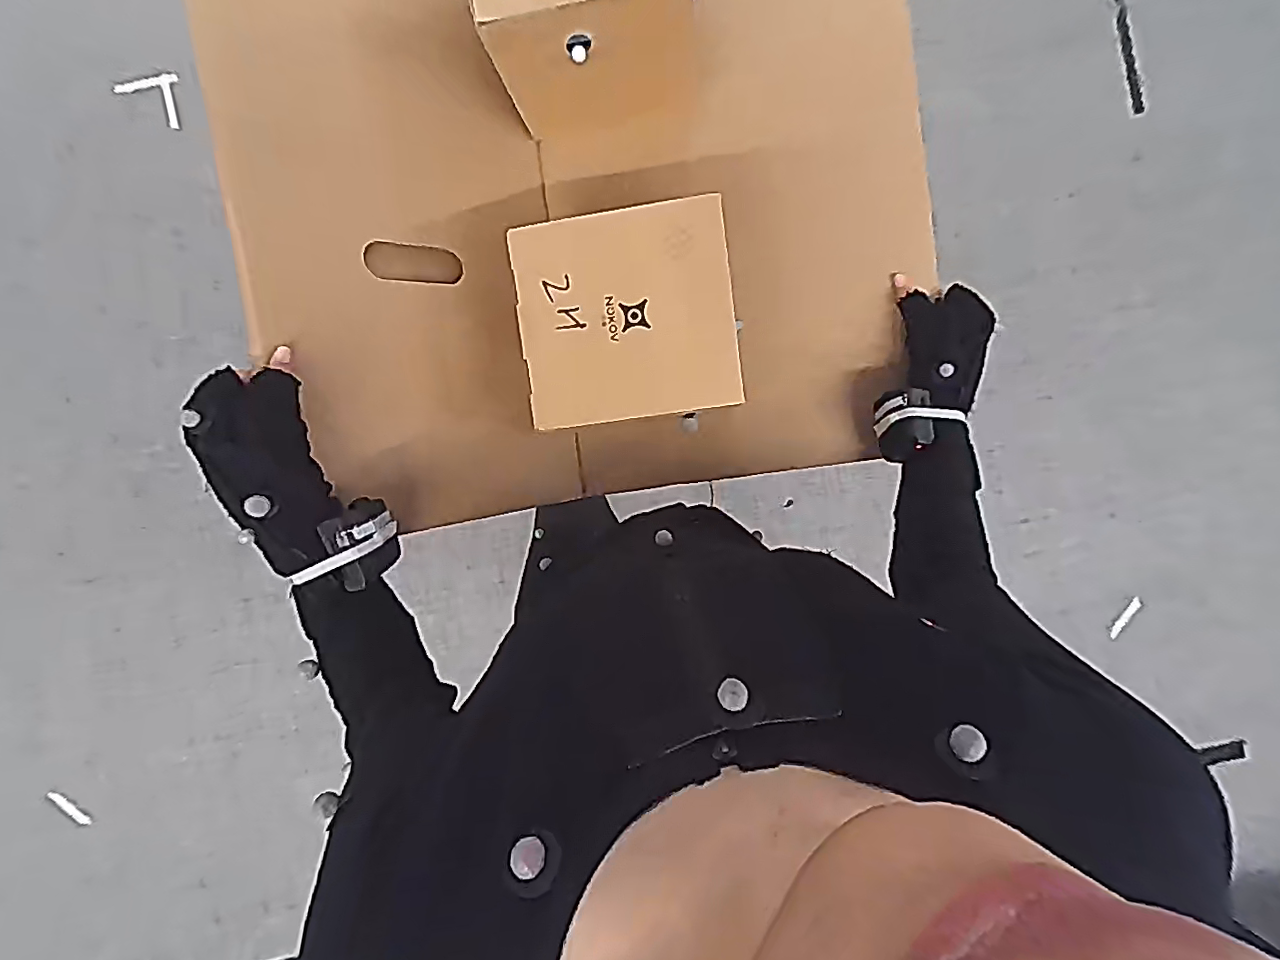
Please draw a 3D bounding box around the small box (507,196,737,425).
[{"bbox_3d":[-0.009,-0.145,0.523,0.179,0.176,0.168,-7,94,6],"label":"small box"}]

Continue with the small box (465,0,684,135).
[{"bbox_3d":[-0.056,-0.459,0.504,0.179,0.176,0.168,-9,94,5],"label":"small box"}]
